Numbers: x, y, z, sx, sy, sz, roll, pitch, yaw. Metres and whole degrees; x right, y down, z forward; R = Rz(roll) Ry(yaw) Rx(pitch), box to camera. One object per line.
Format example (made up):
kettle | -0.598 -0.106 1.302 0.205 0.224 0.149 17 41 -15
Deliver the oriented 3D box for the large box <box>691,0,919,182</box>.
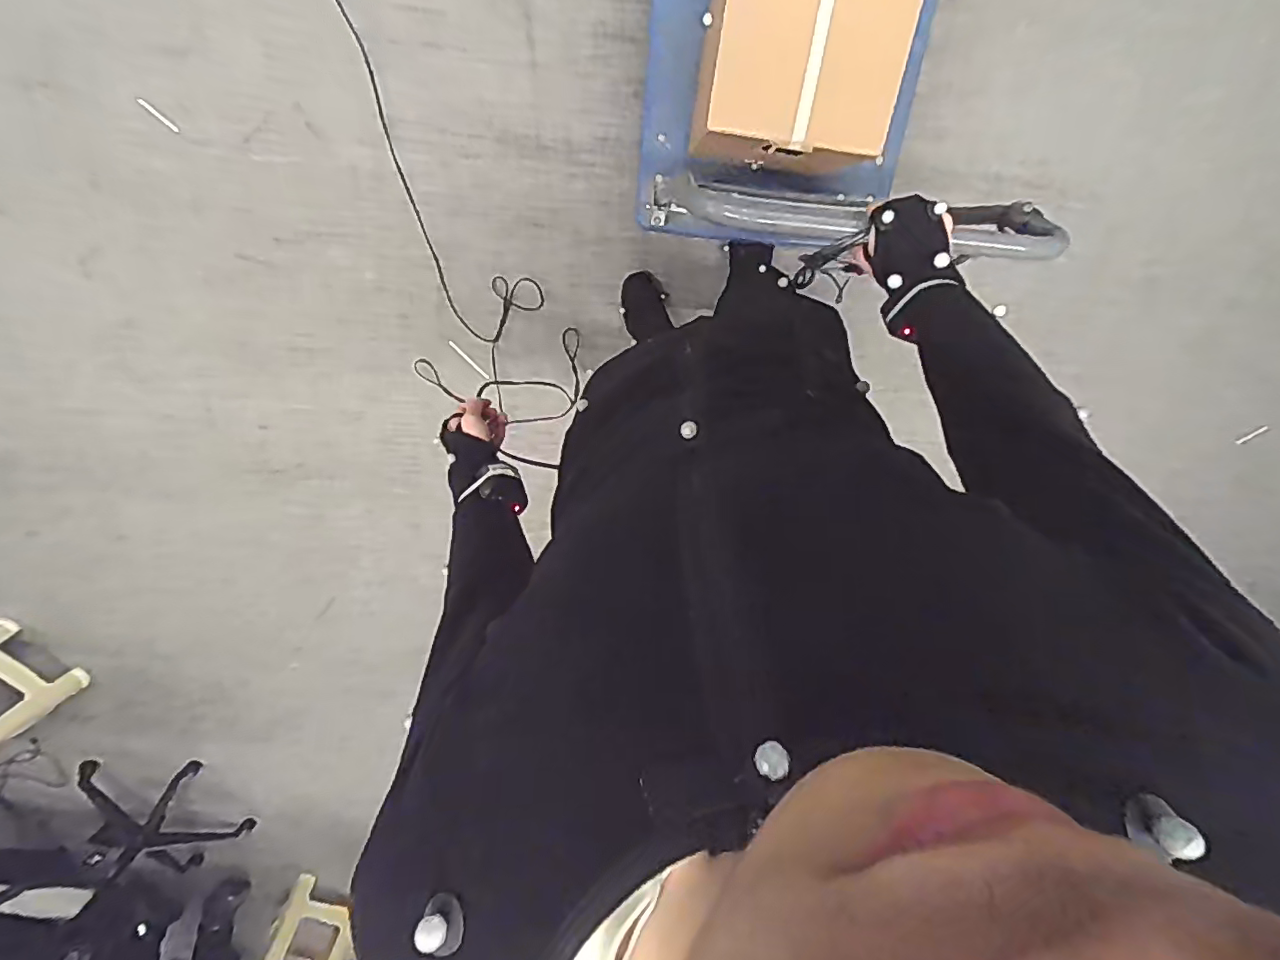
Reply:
large box | 0.283 -0.804 0.989 0.320 0.320 0.408 6 112 -5
